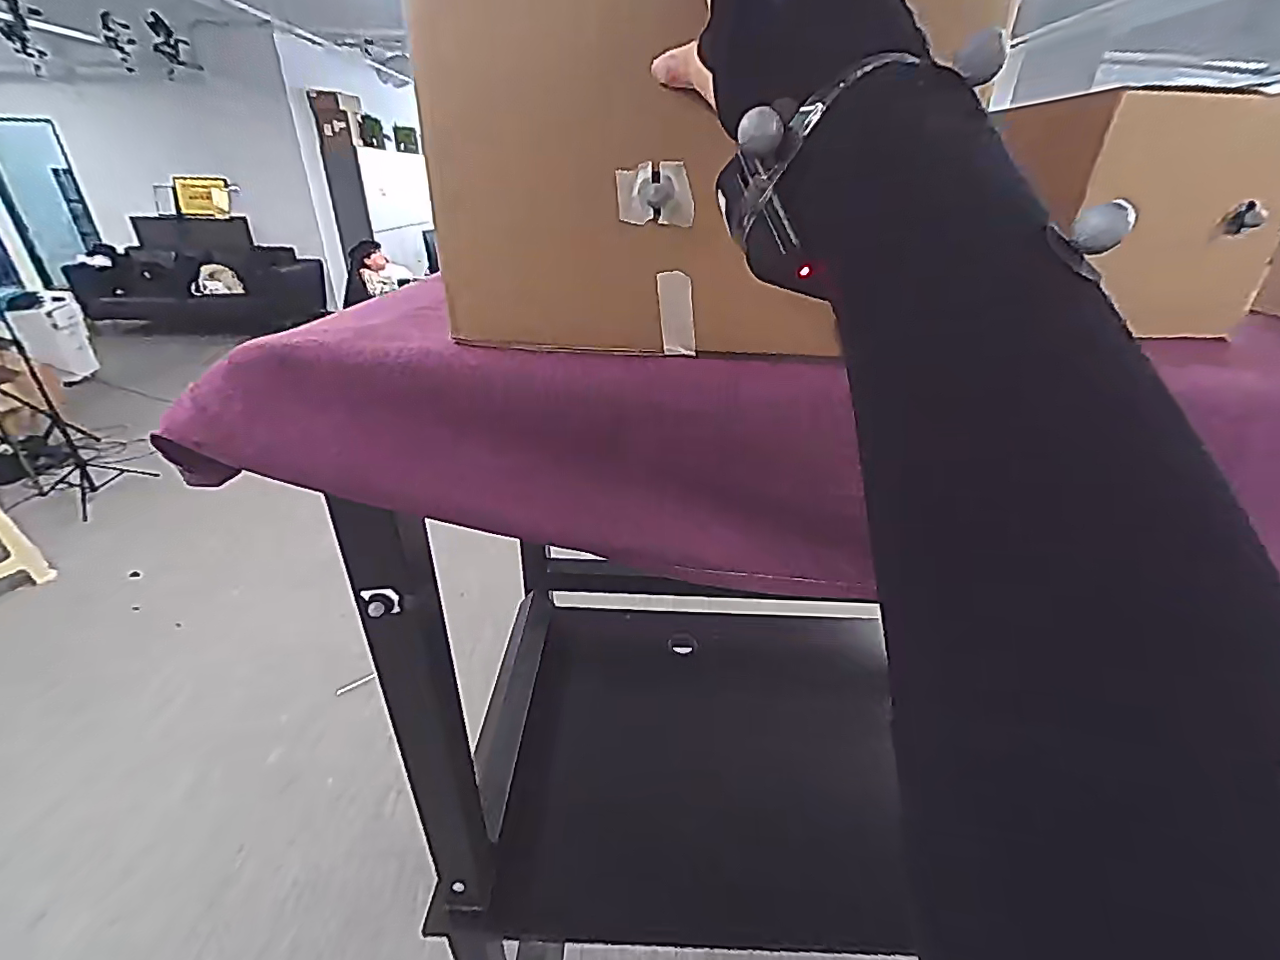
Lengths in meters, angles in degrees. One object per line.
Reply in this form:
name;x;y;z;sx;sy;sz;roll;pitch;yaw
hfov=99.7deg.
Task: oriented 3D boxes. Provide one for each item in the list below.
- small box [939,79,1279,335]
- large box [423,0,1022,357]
small box;0.393;-0.226;0.466;0.179;0.176;0.168;-1;28;-4
large box;0.044;-0.307;0.450;0.320;0.320;0.408;3;29;1
